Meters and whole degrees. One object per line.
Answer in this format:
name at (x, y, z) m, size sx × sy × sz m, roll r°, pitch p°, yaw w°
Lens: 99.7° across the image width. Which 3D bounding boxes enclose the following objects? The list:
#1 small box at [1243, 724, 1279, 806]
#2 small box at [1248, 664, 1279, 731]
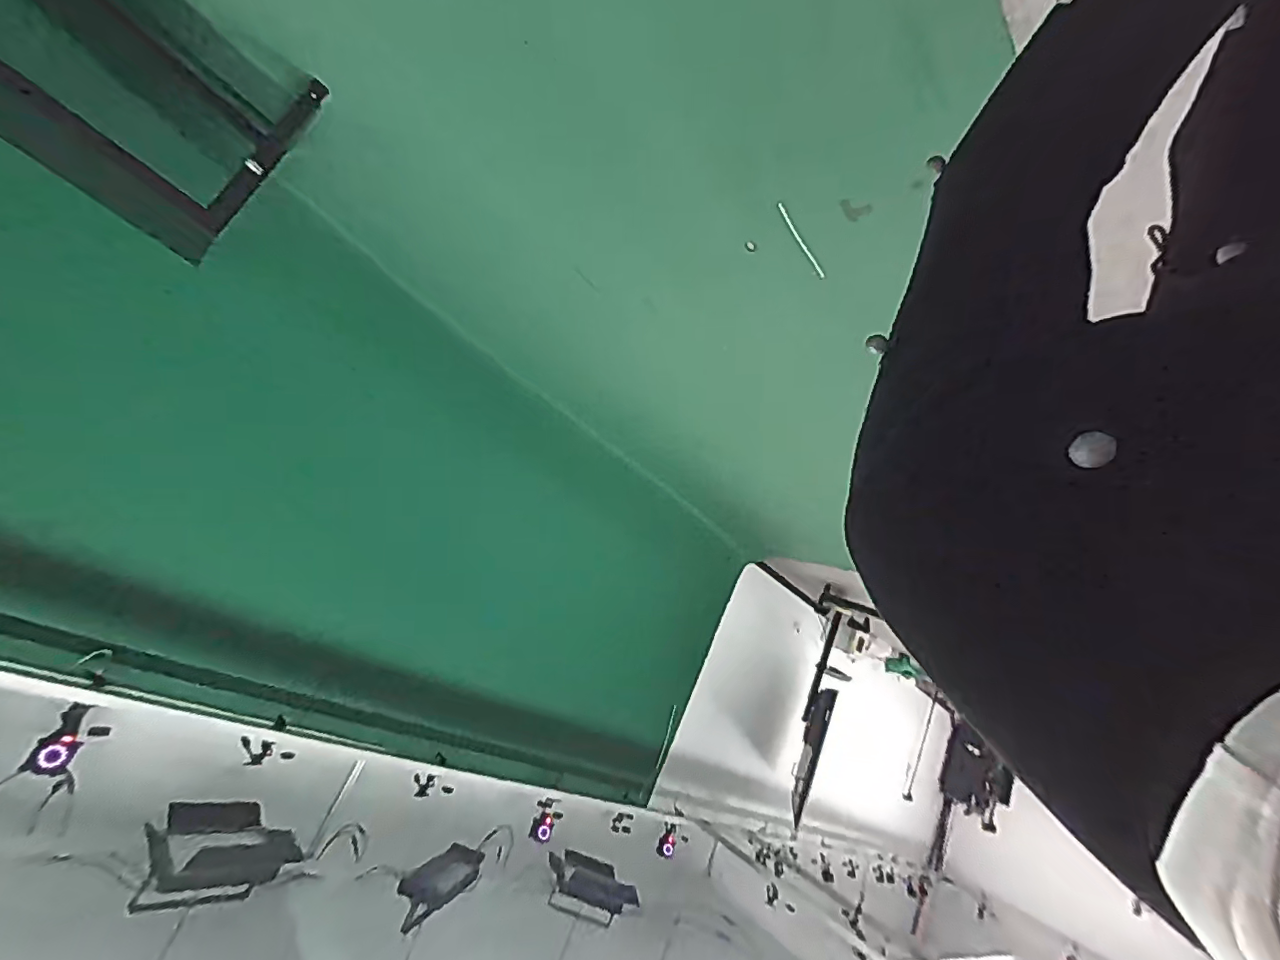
small box at (1.679, 0.745, 1.369) m, size 0.179 × 0.176 × 0.168 m, roll 10°, pitch 157°, yaw 45°
small box at (1.747, 0.604, 1.415) m, size 0.179 × 0.176 × 0.168 m, roll 11°, pitch 159°, yaw 44°
